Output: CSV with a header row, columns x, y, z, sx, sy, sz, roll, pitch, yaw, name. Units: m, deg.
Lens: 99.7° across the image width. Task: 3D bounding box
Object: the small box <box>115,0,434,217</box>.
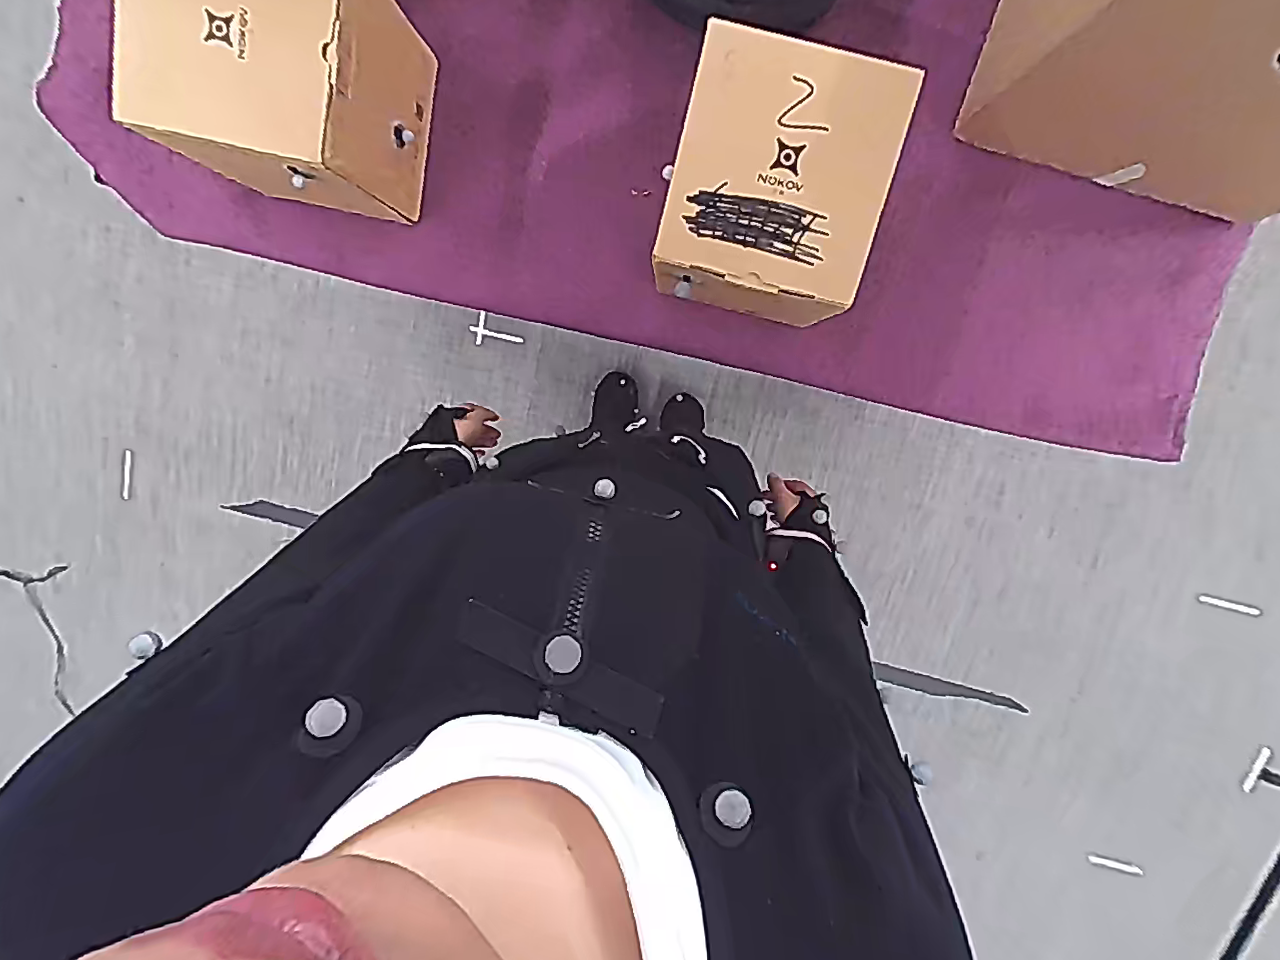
x,y,z,sx,sy,sz,roll,pitch,yaw,name
-0.317,-0.363,0.499,0.179,0.176,0.168,11,100,0,small box
